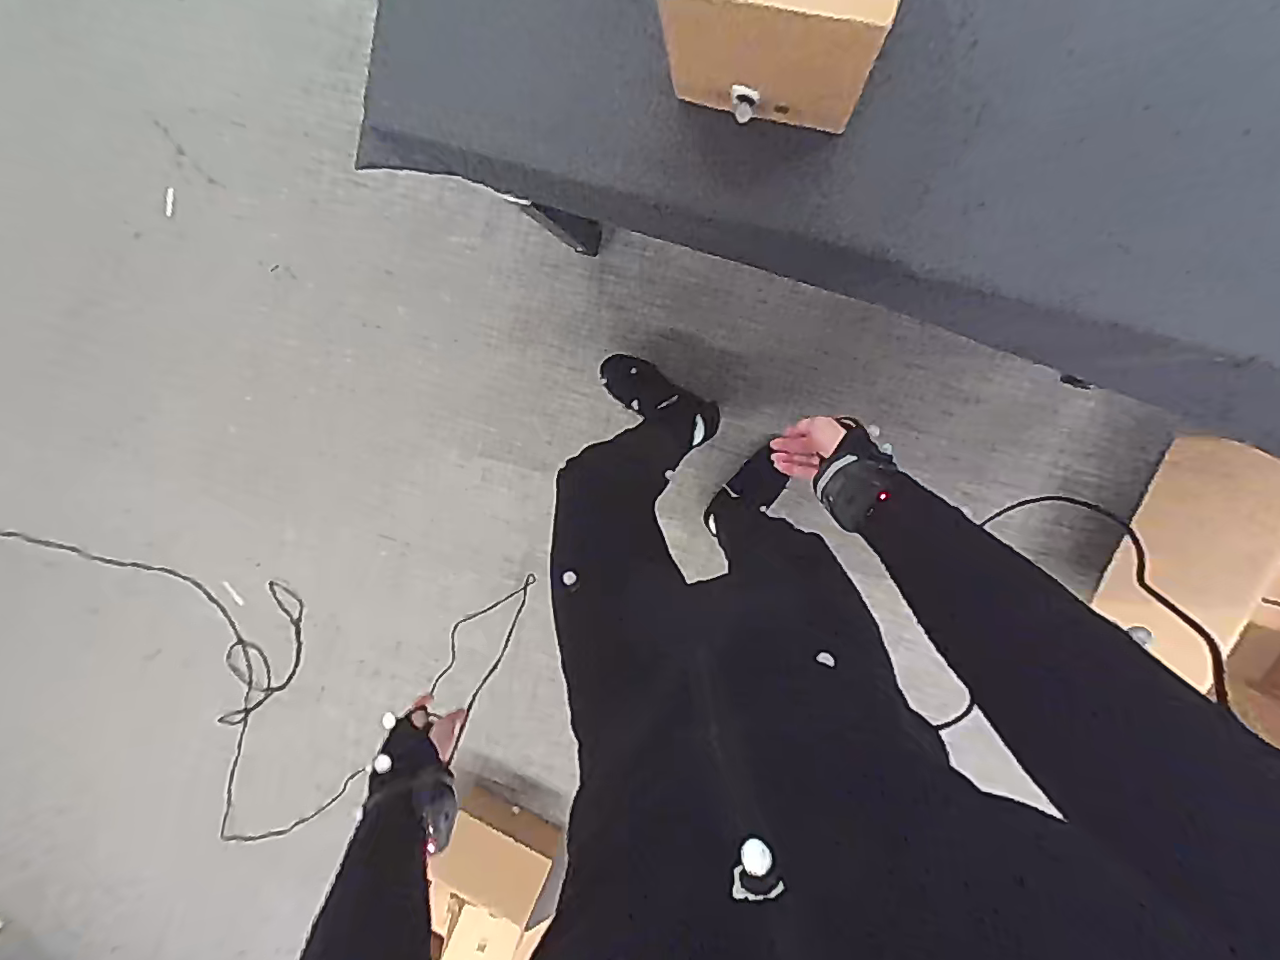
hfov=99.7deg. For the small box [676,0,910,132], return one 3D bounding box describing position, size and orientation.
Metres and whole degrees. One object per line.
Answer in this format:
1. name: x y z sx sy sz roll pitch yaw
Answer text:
1. small box: 0.127 -0.413 0.422 0.168 0.176 0.179 15 104 7
